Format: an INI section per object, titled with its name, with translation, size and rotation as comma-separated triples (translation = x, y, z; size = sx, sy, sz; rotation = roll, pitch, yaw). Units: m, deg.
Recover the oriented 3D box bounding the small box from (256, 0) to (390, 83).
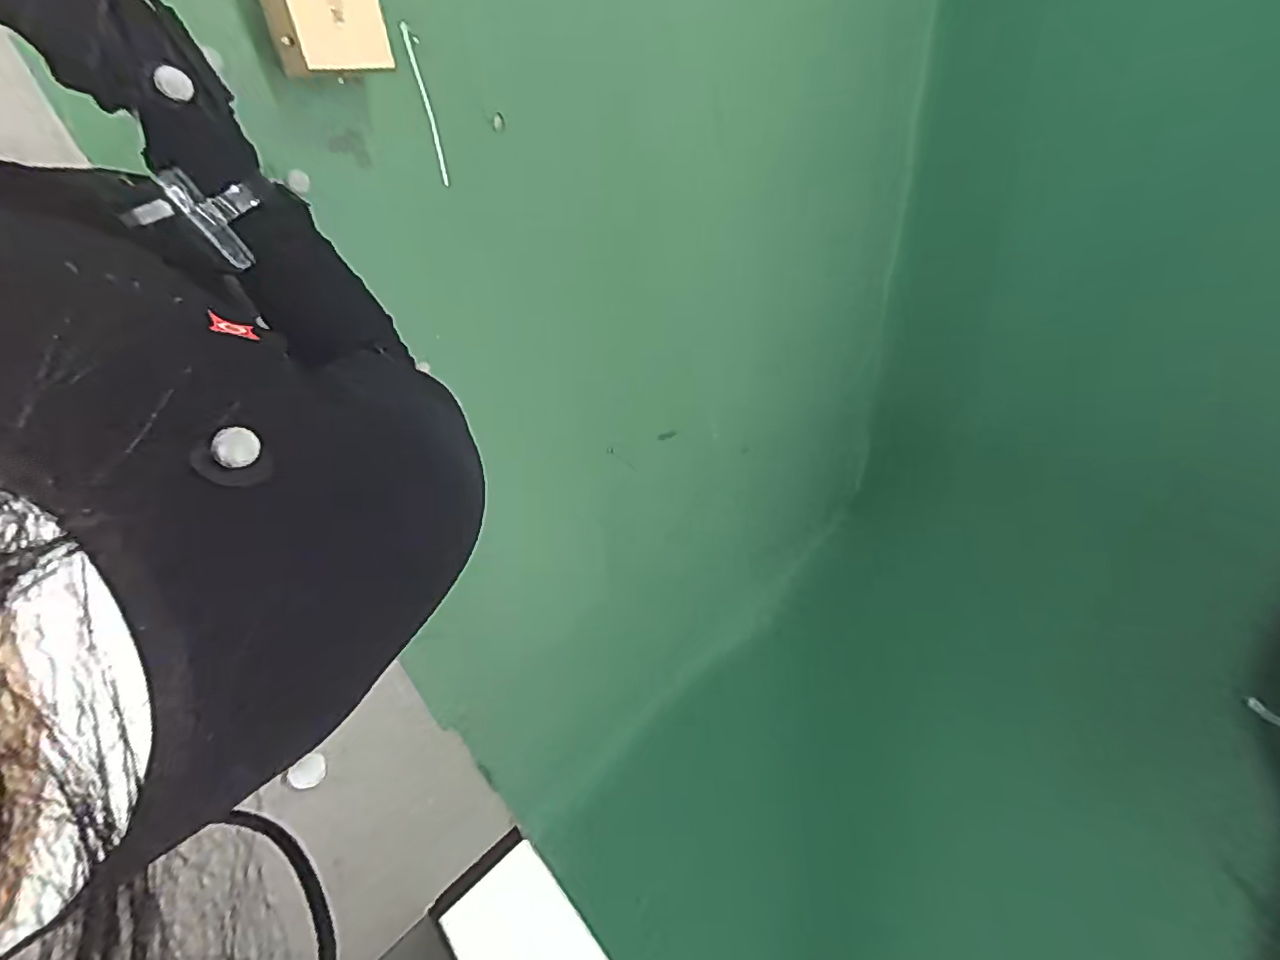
[small box]
translation = -0.619, -0.885, 1.048
size = 0.168, 0.176, 0.179
rotation = -29, 130, -32
